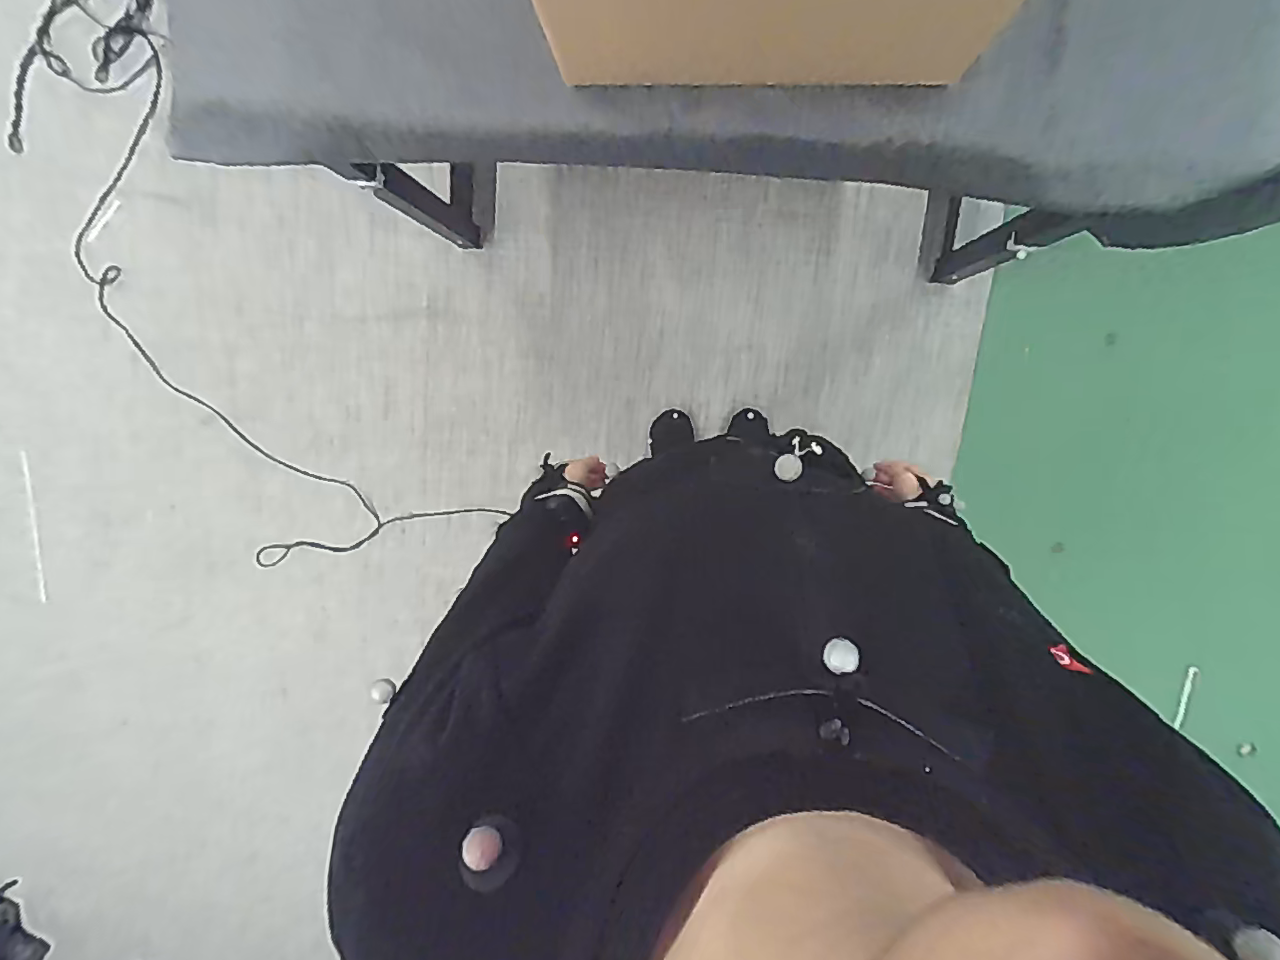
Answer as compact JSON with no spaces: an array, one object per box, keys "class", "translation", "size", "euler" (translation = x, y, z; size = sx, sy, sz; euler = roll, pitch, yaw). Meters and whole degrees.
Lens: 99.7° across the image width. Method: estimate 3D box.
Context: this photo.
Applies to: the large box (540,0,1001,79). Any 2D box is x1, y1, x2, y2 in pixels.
[{"class":"large box","translation":[0.108,-0.548,0.393],"size":[0.408,0.320,0.320],"euler":[2,99,4]}]
